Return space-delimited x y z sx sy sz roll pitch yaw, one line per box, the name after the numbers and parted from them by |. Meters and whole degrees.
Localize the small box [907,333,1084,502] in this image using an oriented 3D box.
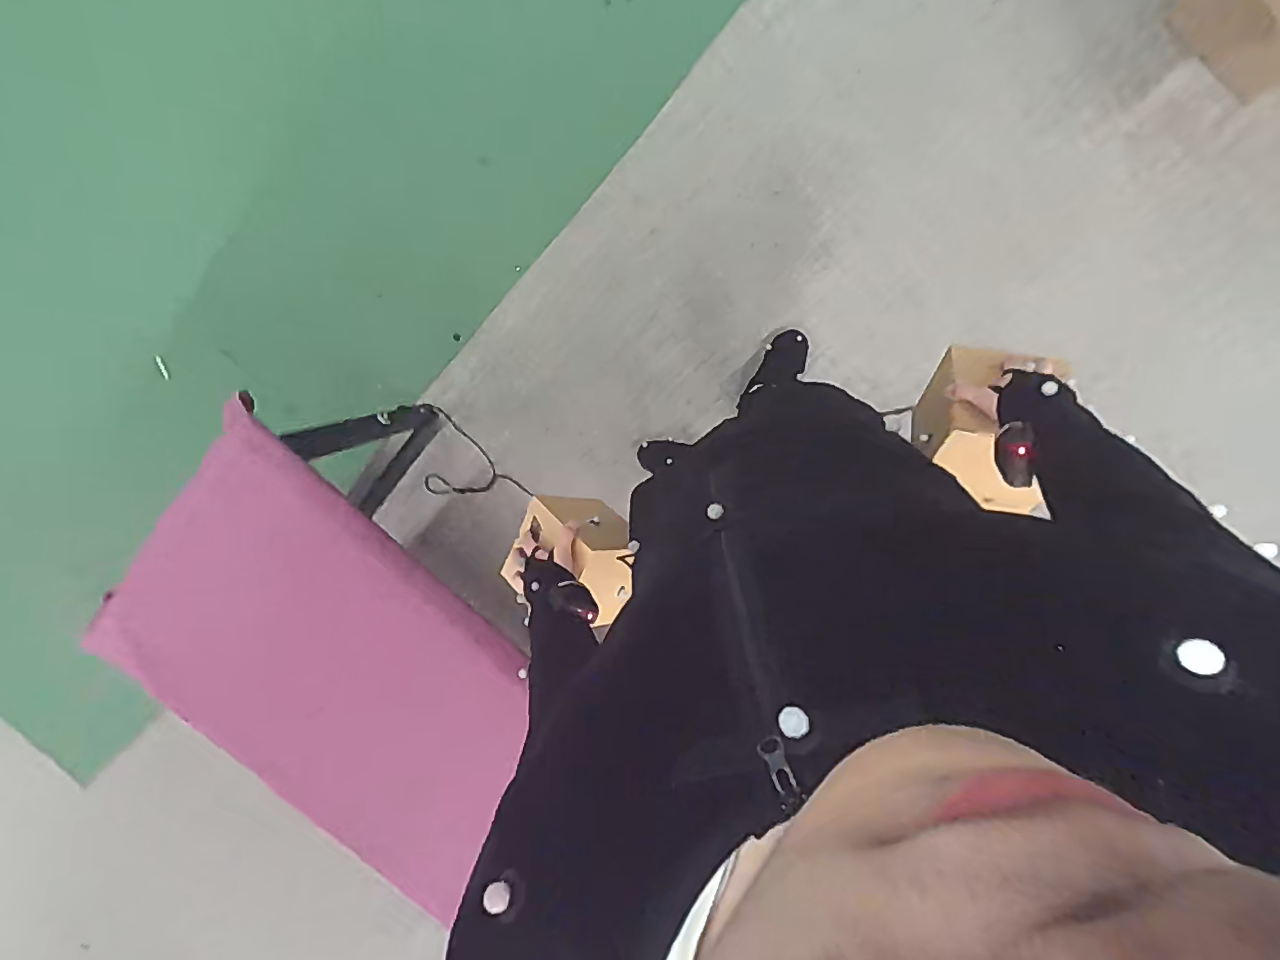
0.519 -0.090 0.816 0.168 0.179 0.176 12 148 11 | small box

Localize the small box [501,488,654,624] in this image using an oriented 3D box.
-0.109 0.129 0.962 0.179 0.176 0.168 36 110 34 | small box
